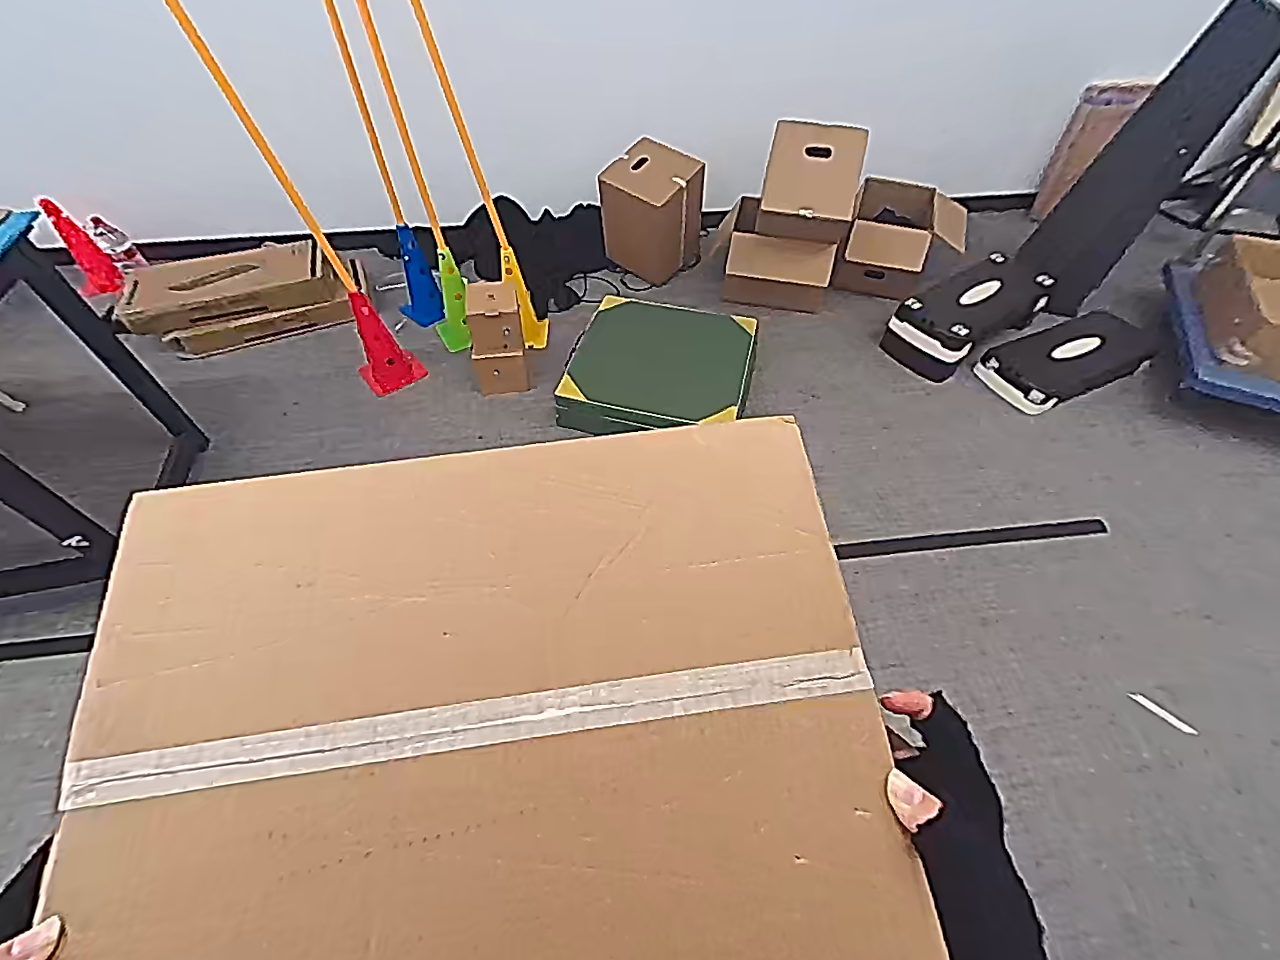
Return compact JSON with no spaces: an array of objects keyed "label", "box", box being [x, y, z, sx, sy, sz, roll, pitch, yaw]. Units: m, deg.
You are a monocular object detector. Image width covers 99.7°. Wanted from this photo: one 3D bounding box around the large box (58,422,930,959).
[{"label":"large box","box":[-0.082,0.184,0.427,0.408,0.320,0.320,-7,68,-3]}]
